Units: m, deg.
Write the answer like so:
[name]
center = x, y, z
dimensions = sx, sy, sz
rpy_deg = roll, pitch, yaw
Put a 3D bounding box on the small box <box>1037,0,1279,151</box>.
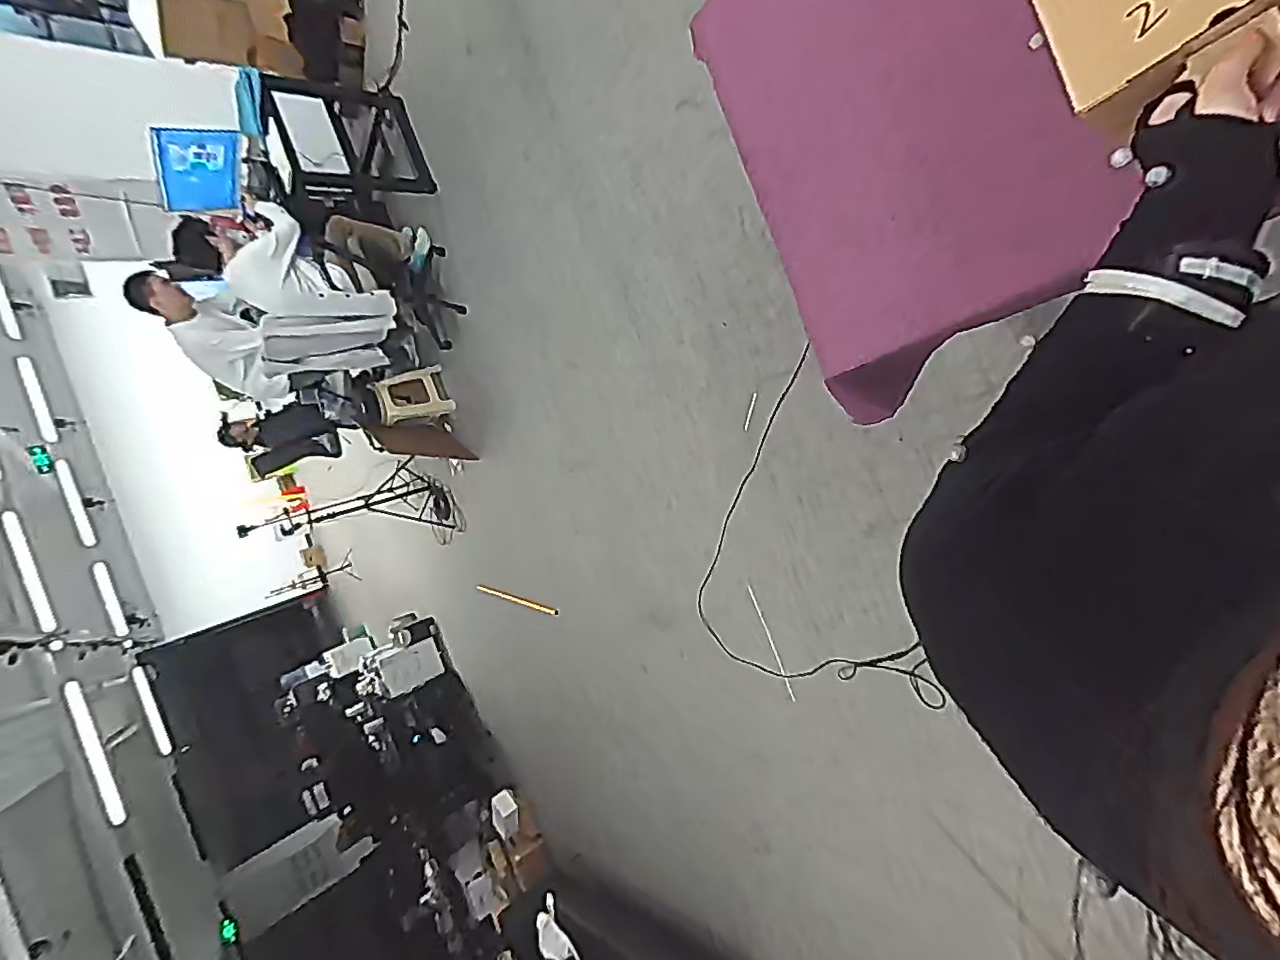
[small box]
center = 0.435, -0.404, 0.425
dimensions = 0.168, 0.176, 0.179
rpy_deg = -23, 79, 51
